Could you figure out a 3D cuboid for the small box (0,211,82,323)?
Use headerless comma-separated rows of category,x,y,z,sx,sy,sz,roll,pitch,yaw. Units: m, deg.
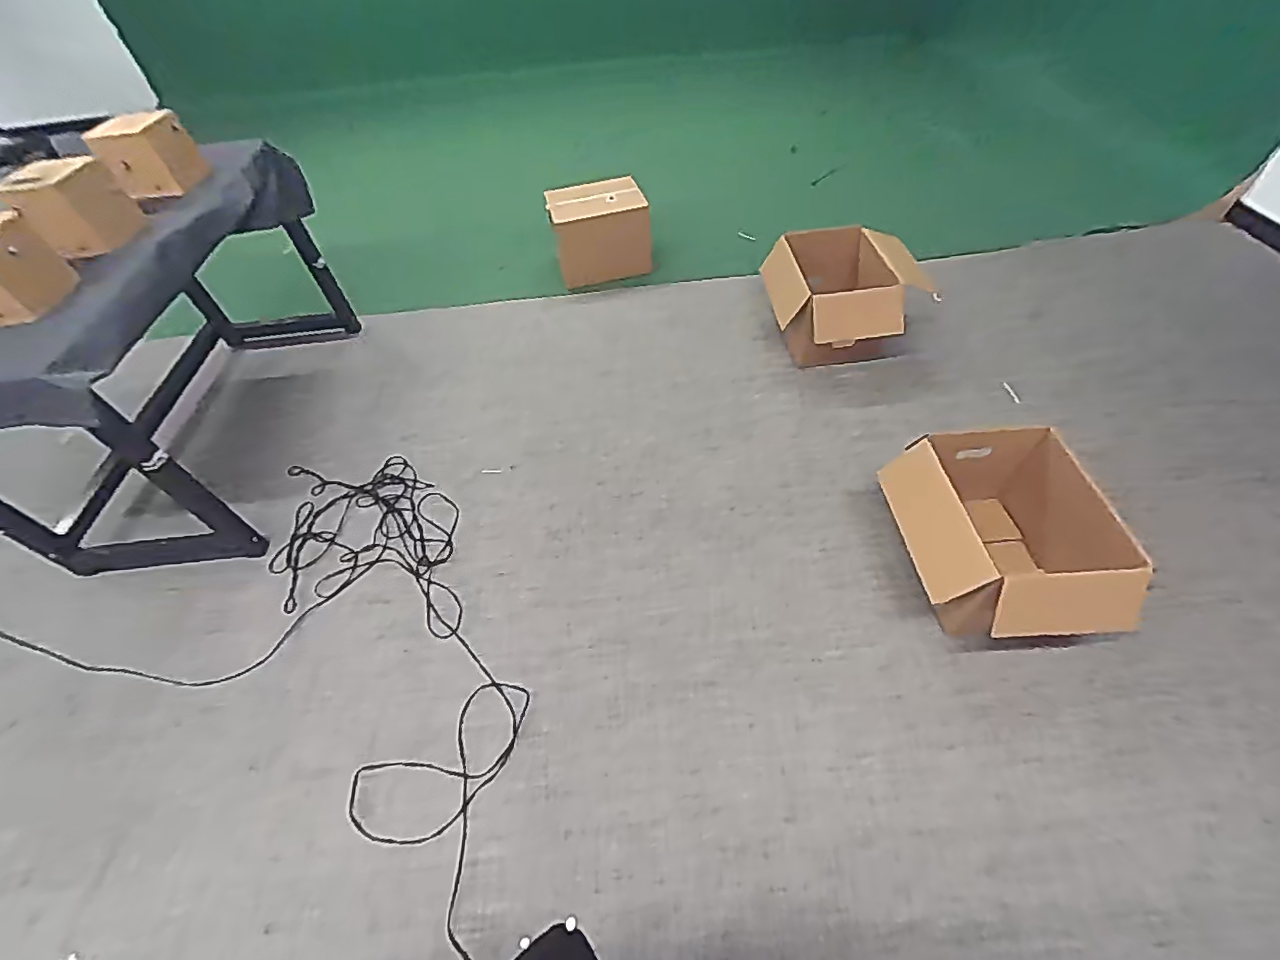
small box,-1.406,-0.458,1.182,0.168,0.176,0.179,-6,50,0

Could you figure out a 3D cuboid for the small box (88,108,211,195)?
small box,-1.404,-0.945,1.565,0.168,0.176,0.179,-4,51,3
